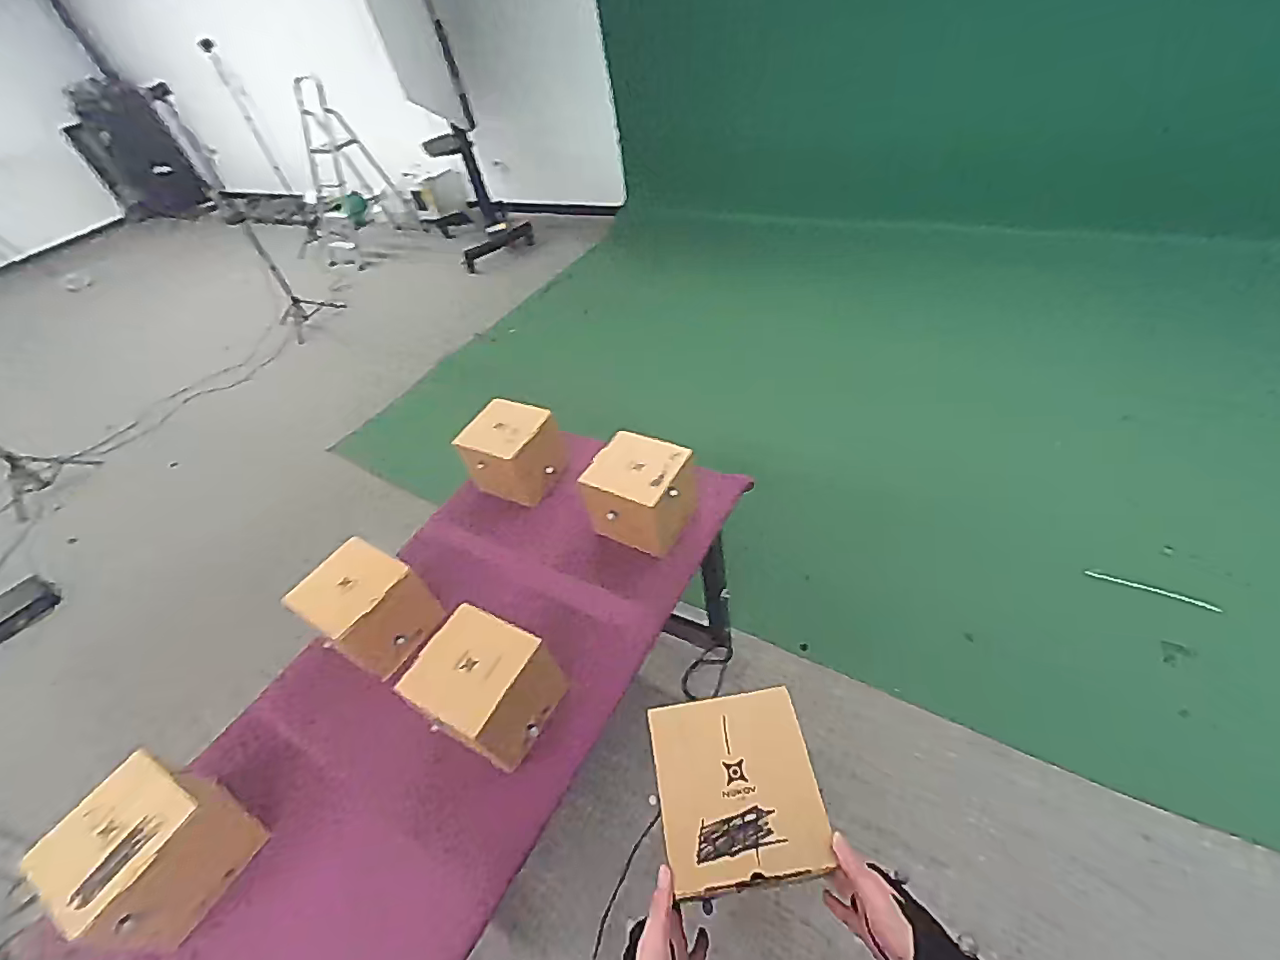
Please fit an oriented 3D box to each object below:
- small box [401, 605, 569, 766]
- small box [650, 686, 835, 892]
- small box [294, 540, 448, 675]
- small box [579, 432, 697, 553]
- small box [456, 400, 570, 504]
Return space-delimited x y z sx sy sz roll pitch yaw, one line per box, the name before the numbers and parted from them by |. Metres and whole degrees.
small box | -0.249 0.345 0.904 0.179 0.176 0.168 16 54 28
small box | 0.111 0.367 0.637 0.168 0.176 0.179 -10 50 0
small box | -0.519 0.253 1.063 0.179 0.176 0.168 19 54 27
small box | 0.003 0.028 1.139 0.179 0.176 0.168 18 55 28
small box | -0.298 -0.064 1.304 0.179 0.176 0.168 16 56 26
